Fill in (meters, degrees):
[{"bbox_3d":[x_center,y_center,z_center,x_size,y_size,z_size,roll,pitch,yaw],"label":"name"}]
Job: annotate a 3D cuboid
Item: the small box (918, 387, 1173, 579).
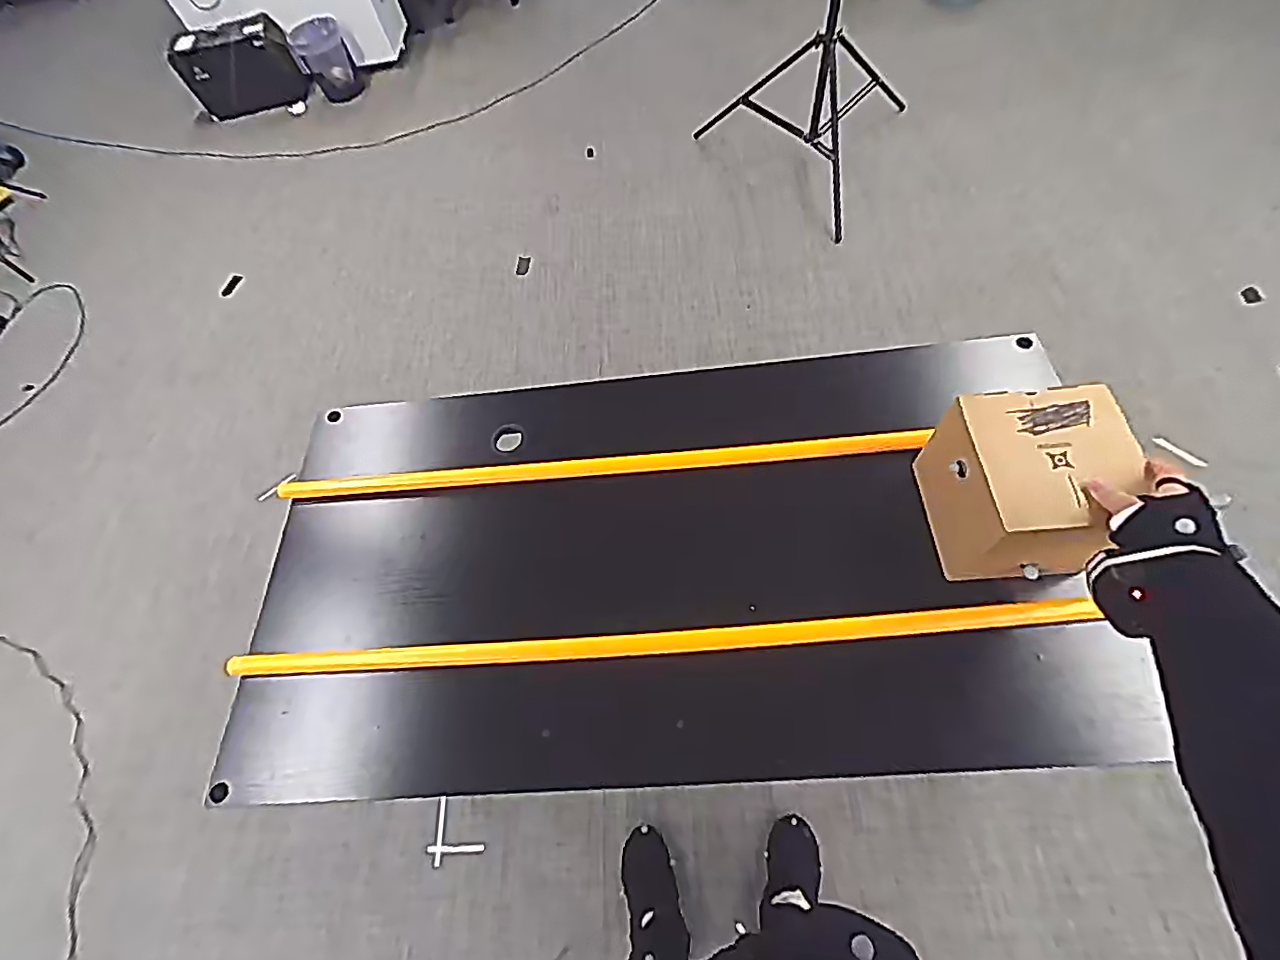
[{"bbox_3d":[0.465,0.010,0.661,0.168,0.176,0.179,-4,62,6],"label":"small box"}]
